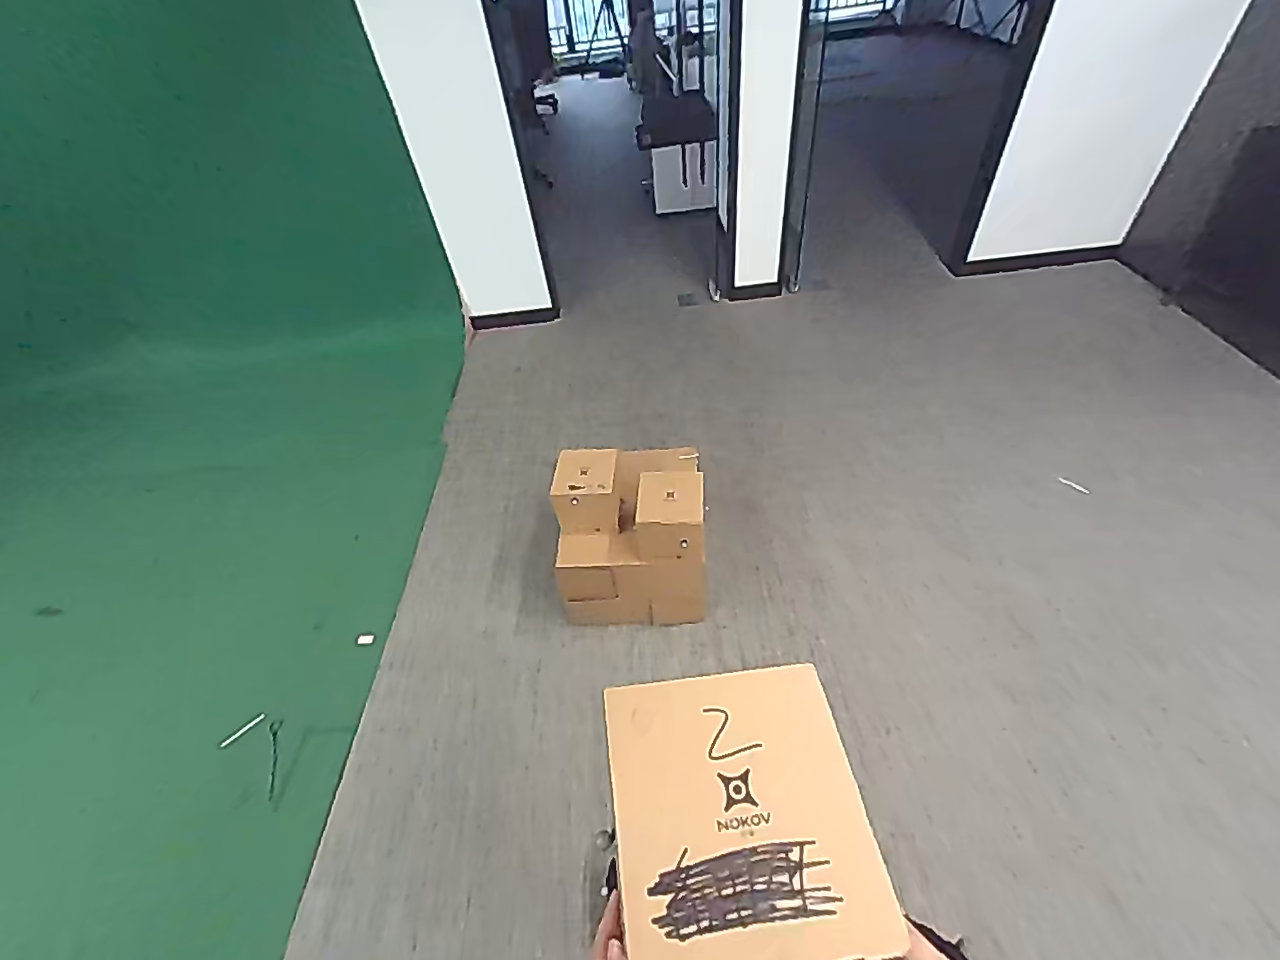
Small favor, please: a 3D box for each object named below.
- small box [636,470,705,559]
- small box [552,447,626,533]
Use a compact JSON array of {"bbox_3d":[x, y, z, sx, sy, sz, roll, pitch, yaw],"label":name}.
[{"bbox_3d":[0.086,0.092,1.414,0.168,0.176,0.179,1,45,7],"label":"small box"},{"bbox_3d":[-0.135,0.027,1.508,0.168,0.176,0.179,-2,44,8],"label":"small box"}]
